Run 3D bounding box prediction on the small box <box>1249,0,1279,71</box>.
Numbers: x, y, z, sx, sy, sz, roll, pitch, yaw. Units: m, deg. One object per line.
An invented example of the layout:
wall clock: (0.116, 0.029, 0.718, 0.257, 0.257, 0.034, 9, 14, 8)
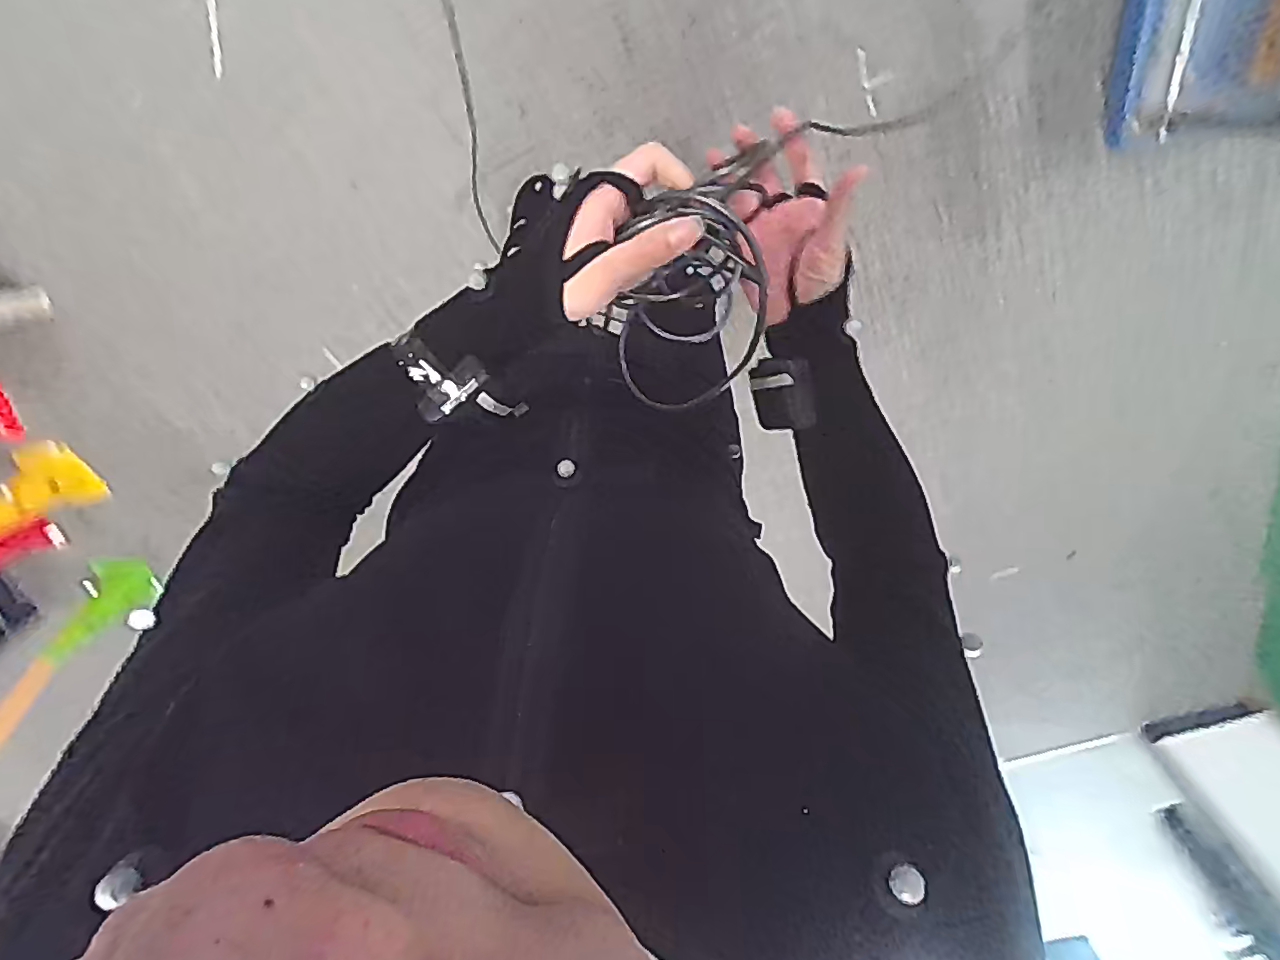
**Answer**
small box: (1.250, -0.832, 0.935, 0.179, 0.176, 0.168, -12, 124, 8)
